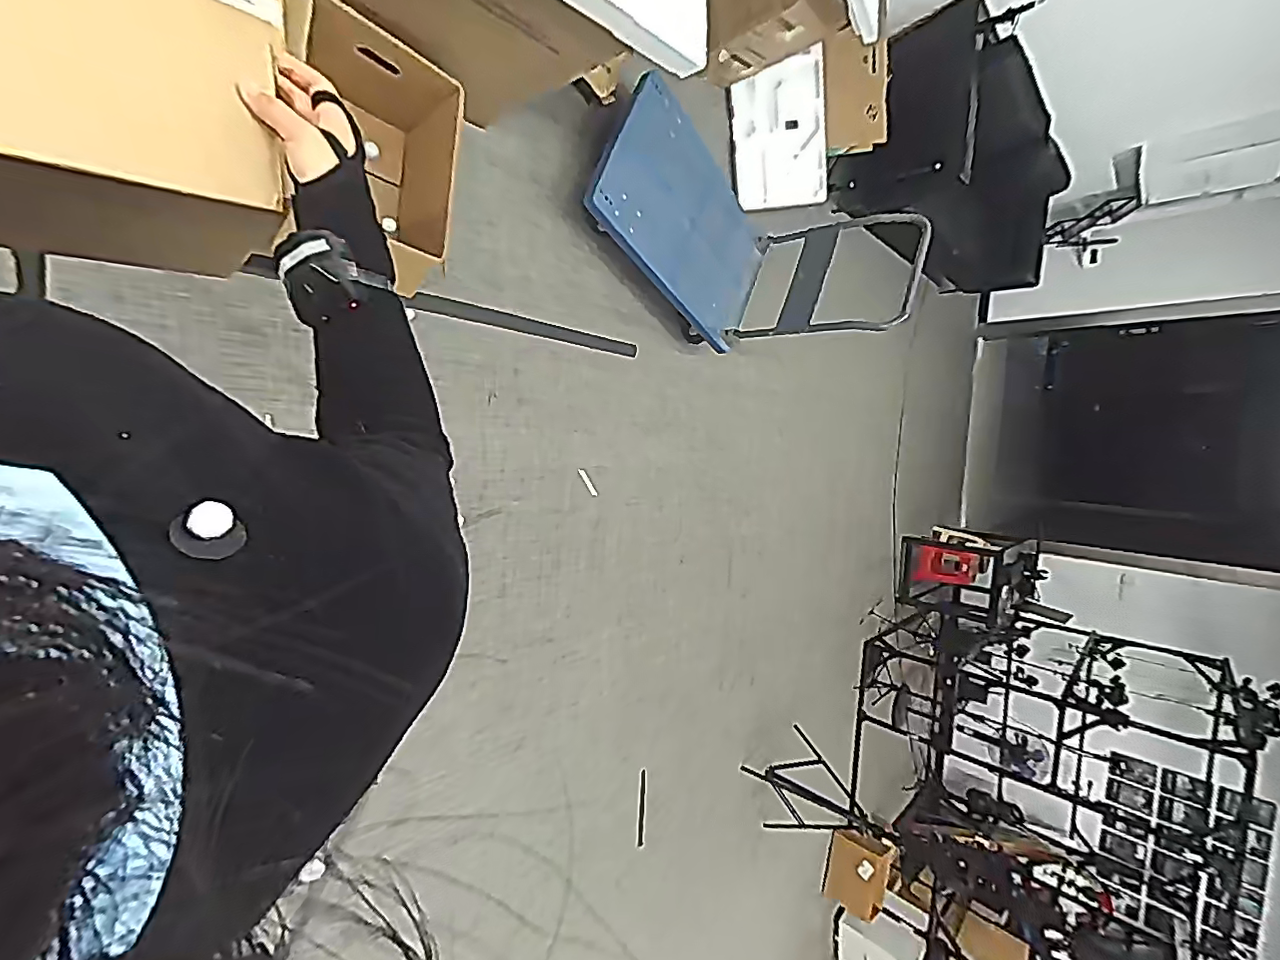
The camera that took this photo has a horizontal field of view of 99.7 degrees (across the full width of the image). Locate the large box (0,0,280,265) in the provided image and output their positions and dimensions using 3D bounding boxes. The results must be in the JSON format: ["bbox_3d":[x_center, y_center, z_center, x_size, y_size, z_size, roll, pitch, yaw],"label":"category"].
[{"bbox_3d":[-0.557,-0.380,0.418,0.408,0.320,0.320,-7,99,-43],"label":"large box"}]
